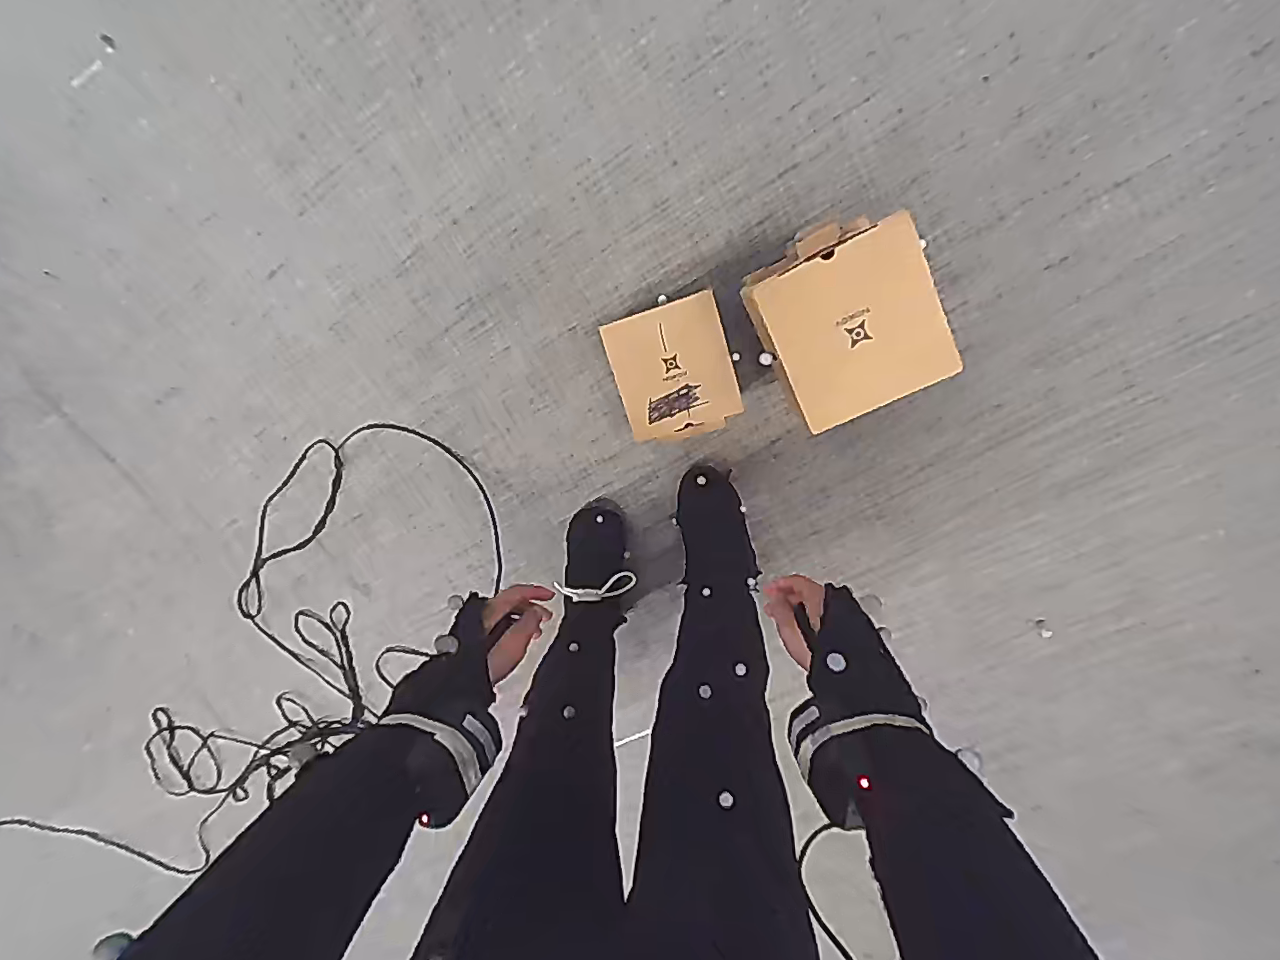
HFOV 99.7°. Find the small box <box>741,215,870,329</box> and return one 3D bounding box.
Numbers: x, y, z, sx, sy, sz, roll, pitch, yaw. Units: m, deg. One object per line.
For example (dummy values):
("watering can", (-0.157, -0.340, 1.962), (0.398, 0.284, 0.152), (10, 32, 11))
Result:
("small box", (0.256, -0.248, 0.785), (0.168, 0.176, 0.179), (-24, 103, 14))

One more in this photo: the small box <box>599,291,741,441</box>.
("small box", (0.054, -0.179, 0.832), (0.168, 0.176, 0.179), (-15, 104, 11))

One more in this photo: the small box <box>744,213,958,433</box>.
("small box", (0.233, -0.181, 0.637), (0.168, 0.176, 0.179), (-24, 103, 14))
